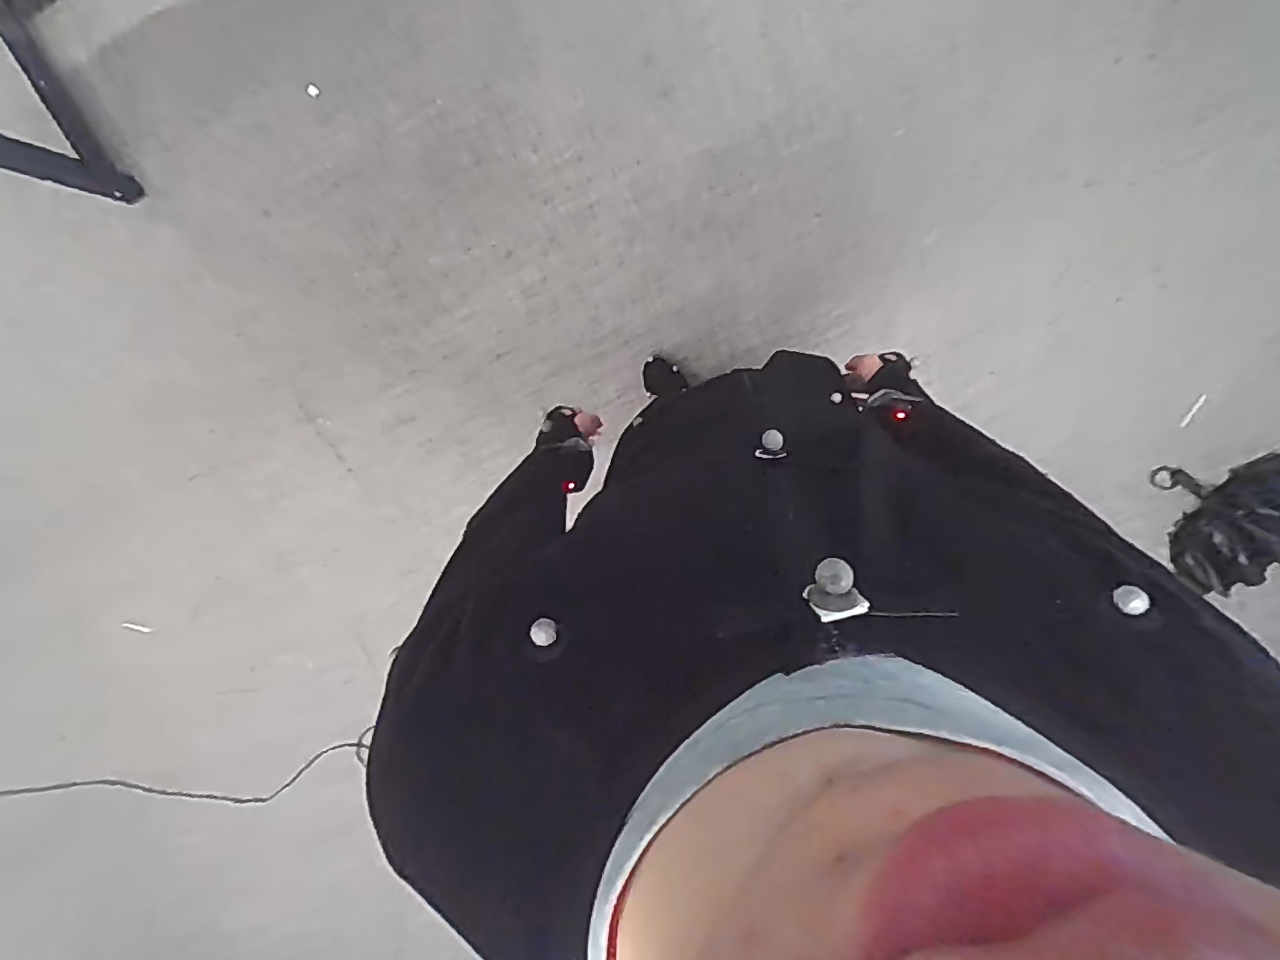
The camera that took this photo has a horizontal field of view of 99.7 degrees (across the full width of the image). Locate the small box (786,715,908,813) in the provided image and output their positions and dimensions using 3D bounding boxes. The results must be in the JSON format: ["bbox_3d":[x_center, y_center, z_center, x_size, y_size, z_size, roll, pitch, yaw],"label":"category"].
[{"bbox_3d":[0.389,0.576,0.991,0.168,0.176,0.179,-27,102,8],"label":"small box"}]
